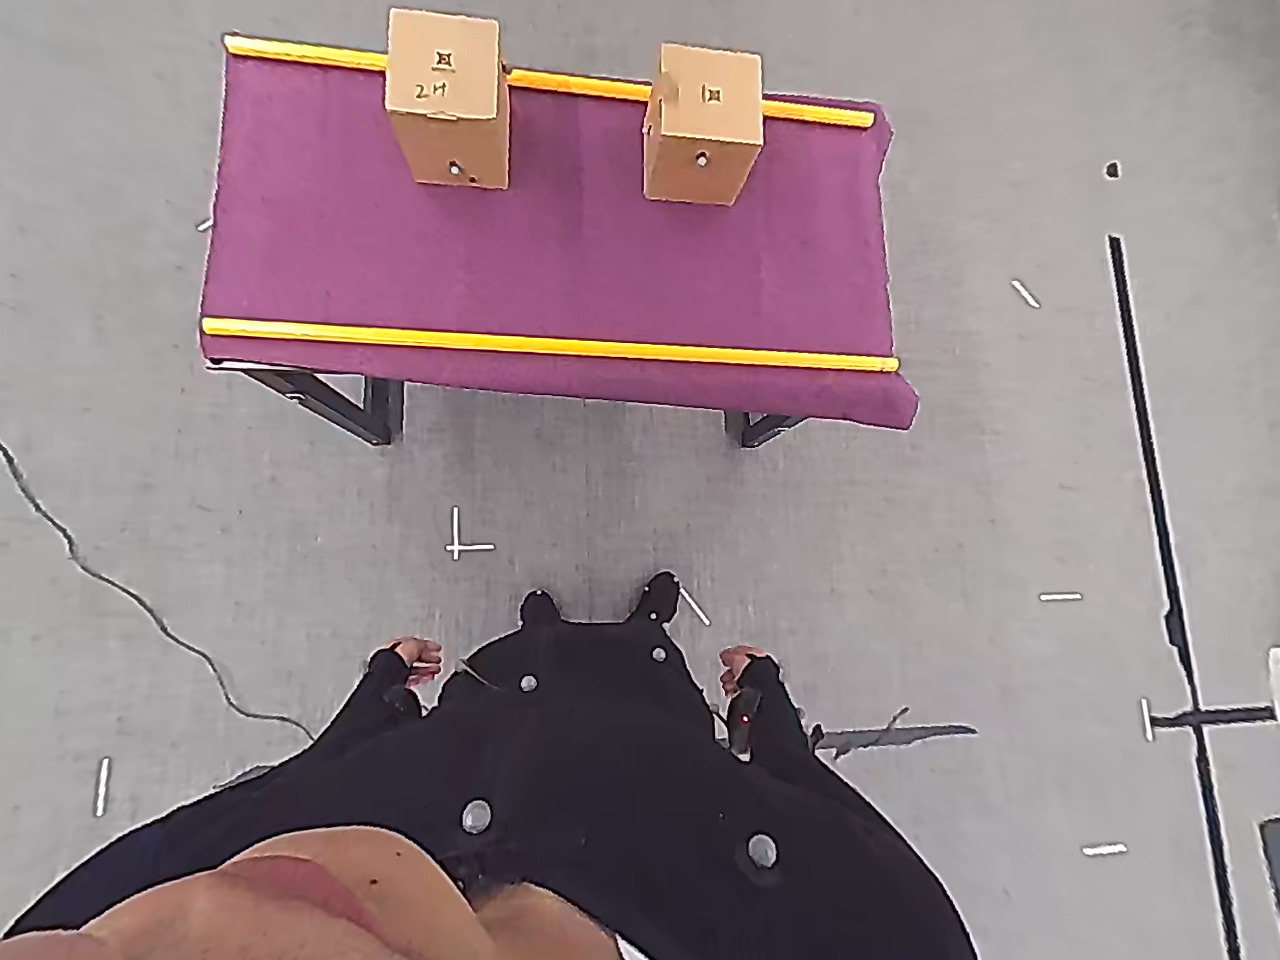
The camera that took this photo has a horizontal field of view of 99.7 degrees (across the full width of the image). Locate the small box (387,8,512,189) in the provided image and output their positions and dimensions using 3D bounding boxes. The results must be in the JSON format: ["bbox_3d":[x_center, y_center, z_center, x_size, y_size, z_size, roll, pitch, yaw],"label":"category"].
[{"bbox_3d":[-0.311,-0.631,0.912,0.168,0.176,0.179,1,84,-7],"label":"small box"}]

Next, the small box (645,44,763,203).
[{"bbox_3d":[0.109,-0.626,0.970,0.179,0.176,0.168,1,83,-7],"label":"small box"}]
